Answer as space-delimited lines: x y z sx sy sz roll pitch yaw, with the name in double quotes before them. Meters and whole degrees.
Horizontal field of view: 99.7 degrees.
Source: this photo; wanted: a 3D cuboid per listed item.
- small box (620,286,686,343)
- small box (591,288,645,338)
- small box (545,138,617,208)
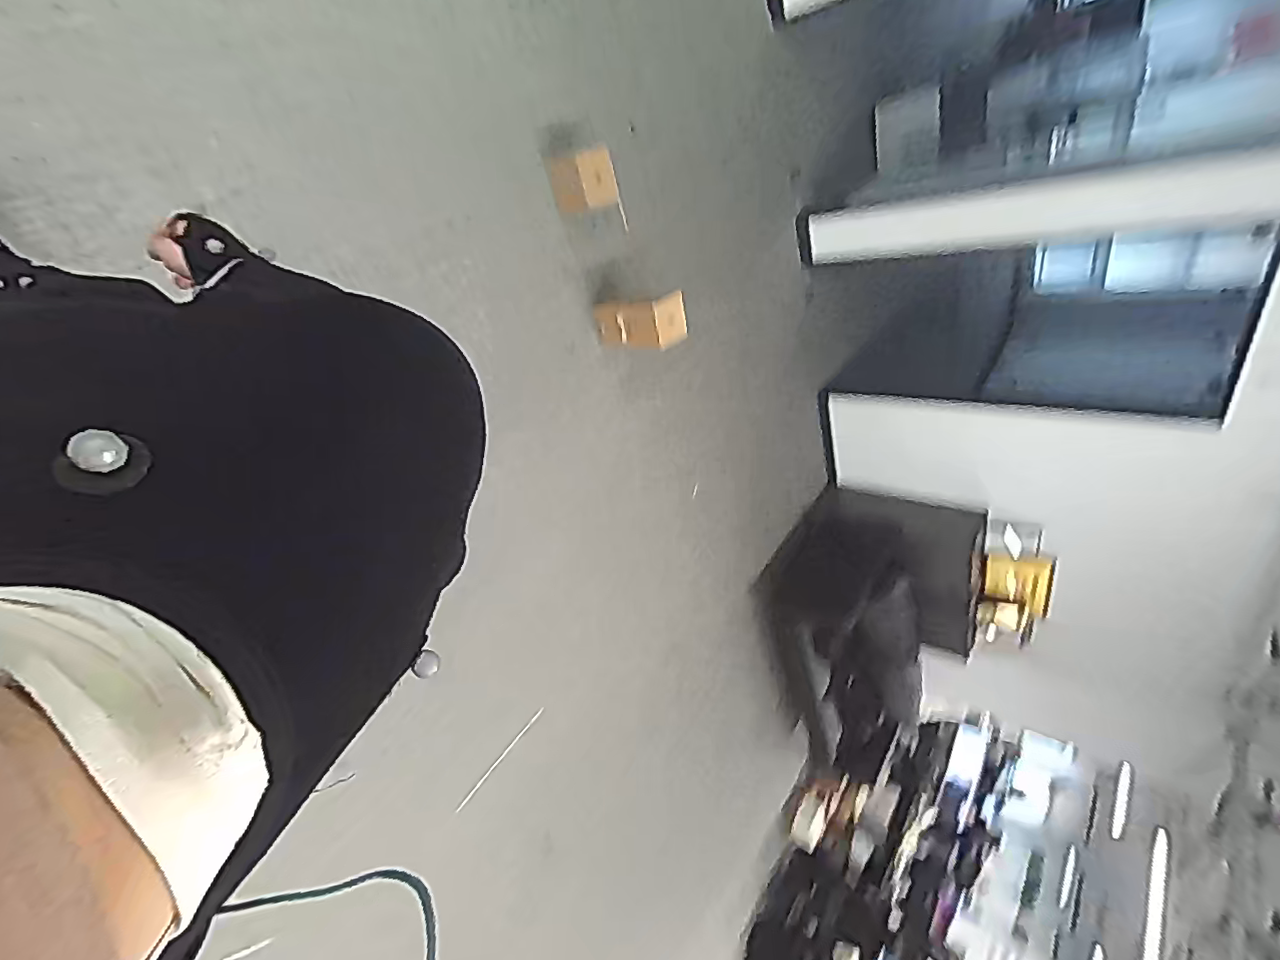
"small box" 0.051 -0.643 2.091 0.179 0.176 0.168 -38 128 -35
"small box" -0.072 -0.677 2.189 0.179 0.176 0.168 -32 121 -38
"small box" -0.212 -1.086 1.917 0.168 0.176 0.179 -39 128 -35
